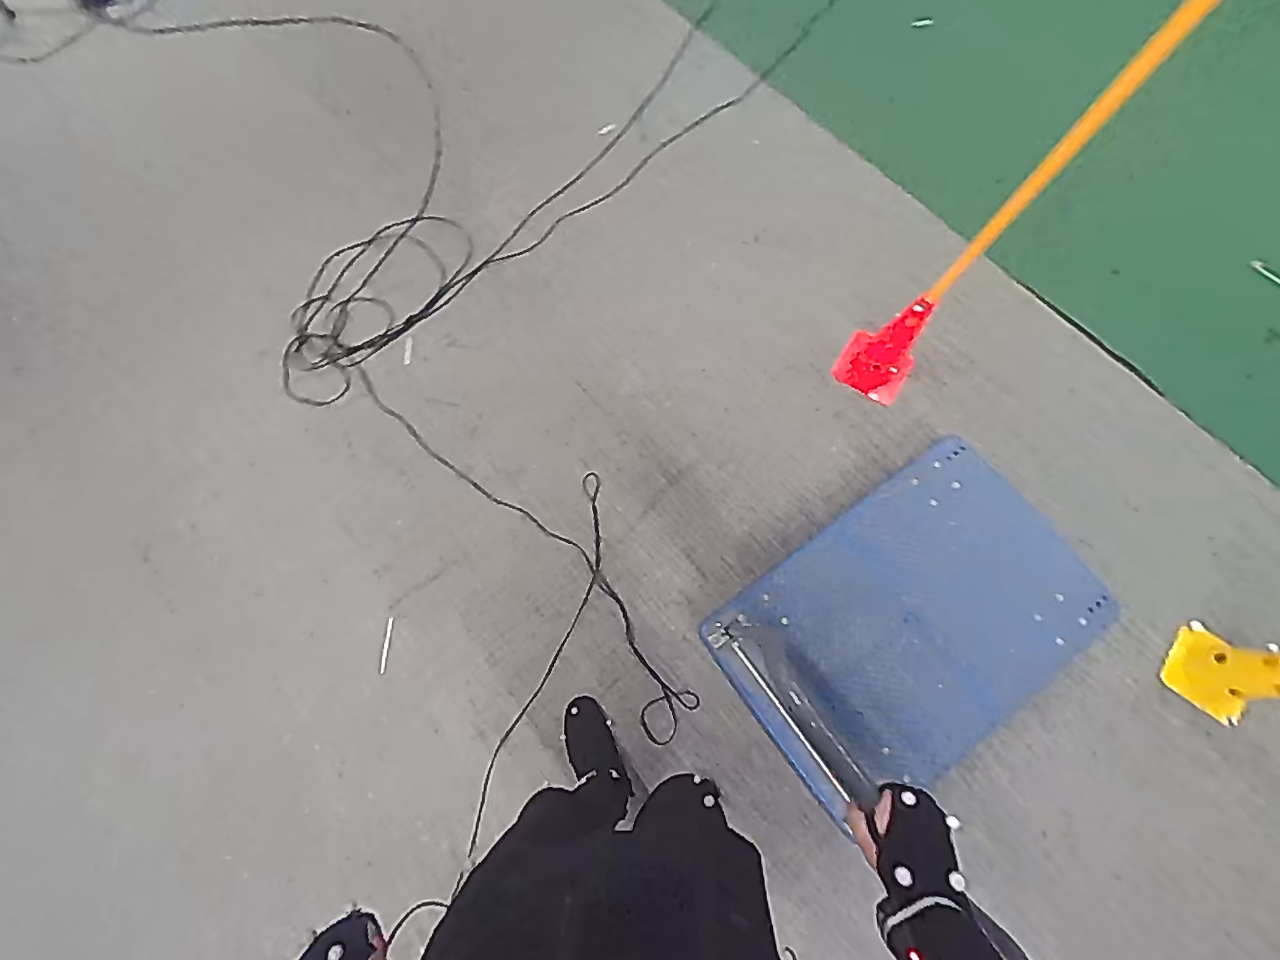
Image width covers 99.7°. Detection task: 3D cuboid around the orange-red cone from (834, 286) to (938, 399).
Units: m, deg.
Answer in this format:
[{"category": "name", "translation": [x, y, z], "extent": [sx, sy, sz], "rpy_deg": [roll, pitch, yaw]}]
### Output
[{"category": "orange-red cone", "translation": [0.722, -0.414, 1.510], "extent": [0.199, 0.360, 0.198], "rpy_deg": [33, 75, 10]}]
